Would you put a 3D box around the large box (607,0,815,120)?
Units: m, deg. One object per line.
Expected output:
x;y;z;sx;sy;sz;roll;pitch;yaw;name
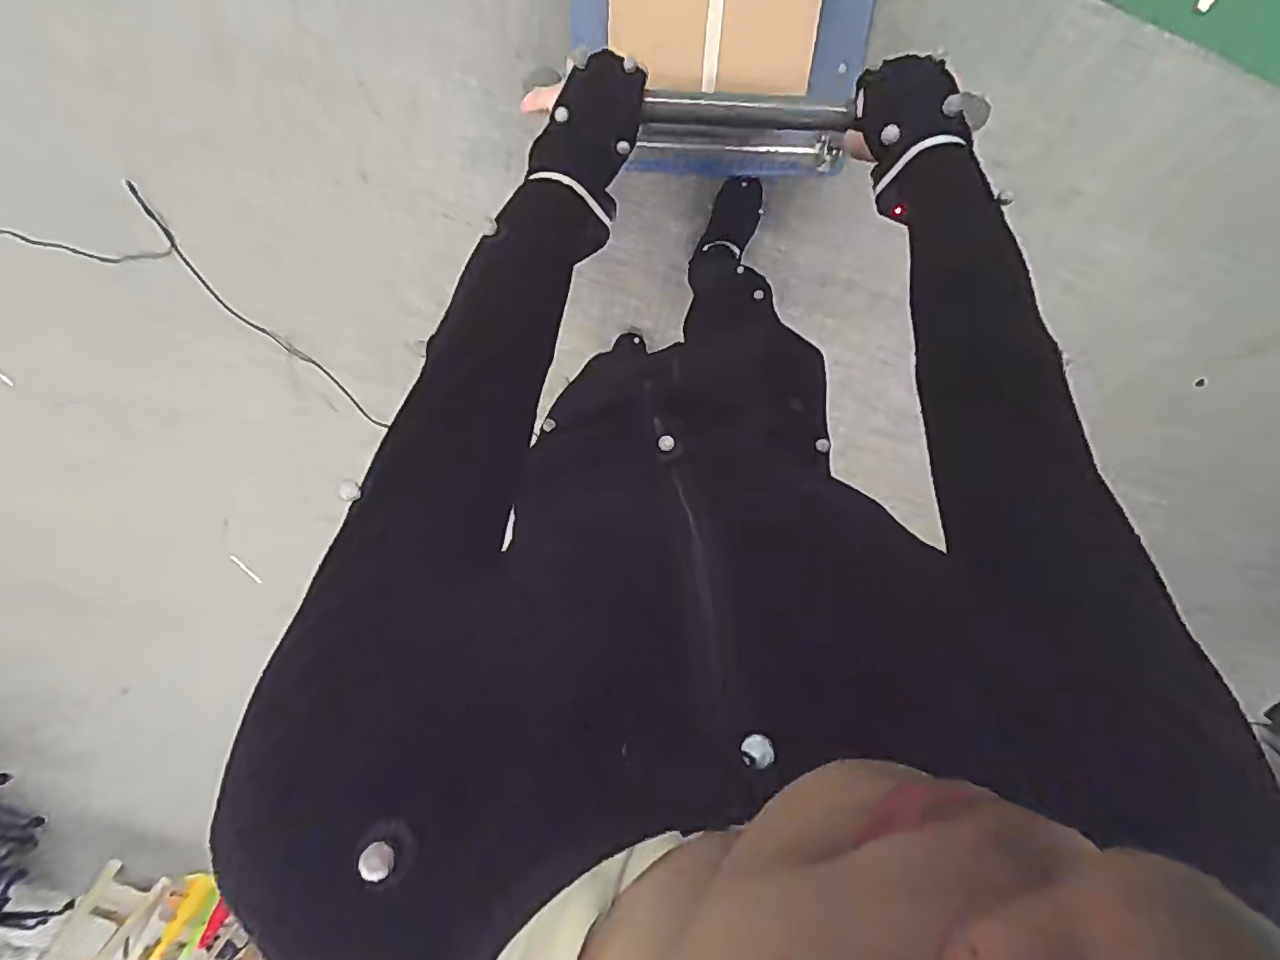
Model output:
0.119;-0.860;0.902;0.320;0.320;0.408;4;117;1;large box
